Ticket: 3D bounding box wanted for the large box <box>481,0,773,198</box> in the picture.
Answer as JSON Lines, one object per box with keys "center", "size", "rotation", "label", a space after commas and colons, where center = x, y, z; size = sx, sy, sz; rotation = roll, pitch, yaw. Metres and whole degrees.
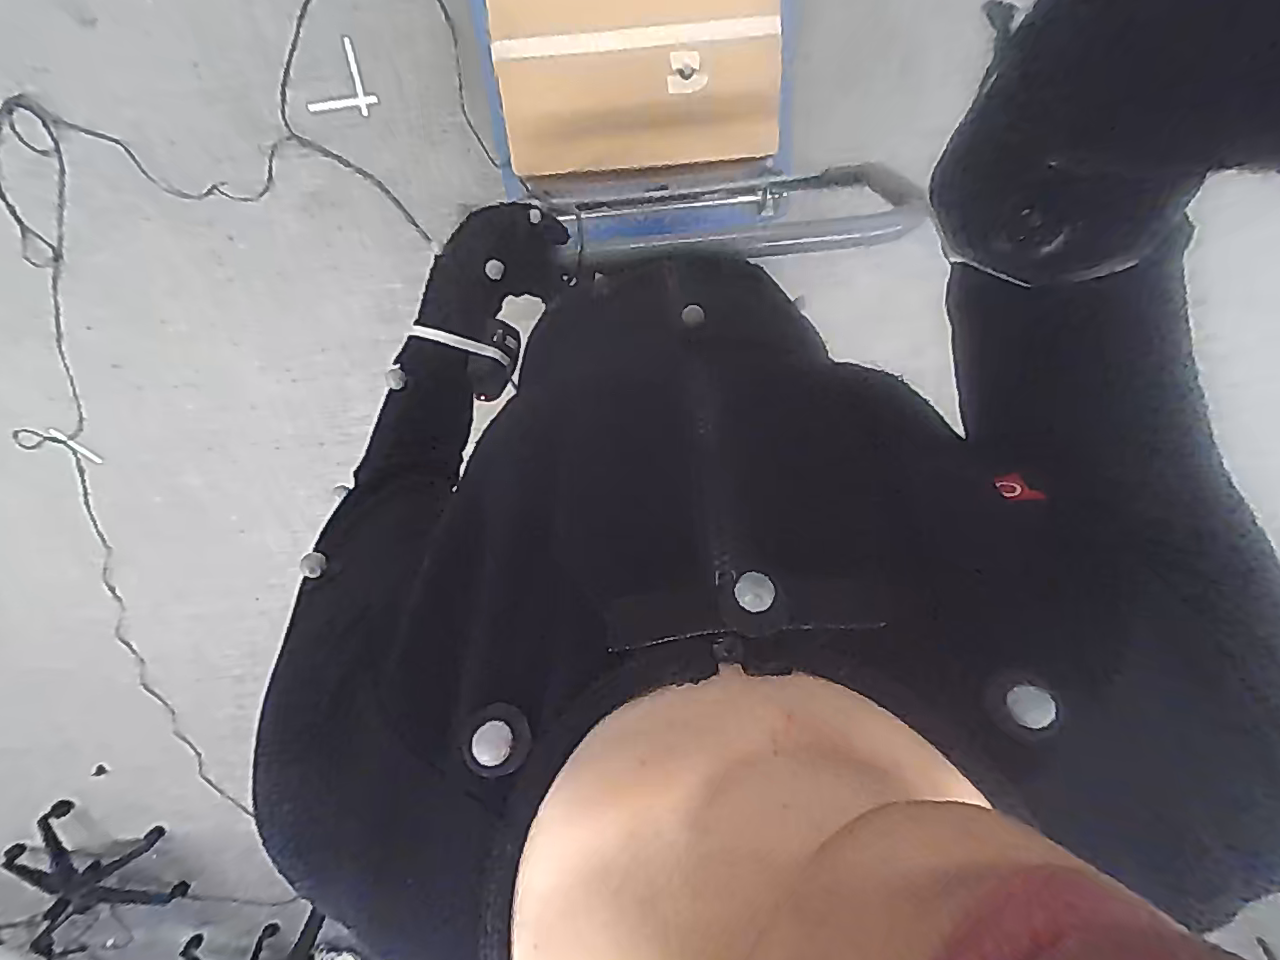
{"center": [-0.019, -0.668, 0.892], "size": [0.408, 0.320, 0.320], "rotation": [-5, 115, -1], "label": "large box"}
